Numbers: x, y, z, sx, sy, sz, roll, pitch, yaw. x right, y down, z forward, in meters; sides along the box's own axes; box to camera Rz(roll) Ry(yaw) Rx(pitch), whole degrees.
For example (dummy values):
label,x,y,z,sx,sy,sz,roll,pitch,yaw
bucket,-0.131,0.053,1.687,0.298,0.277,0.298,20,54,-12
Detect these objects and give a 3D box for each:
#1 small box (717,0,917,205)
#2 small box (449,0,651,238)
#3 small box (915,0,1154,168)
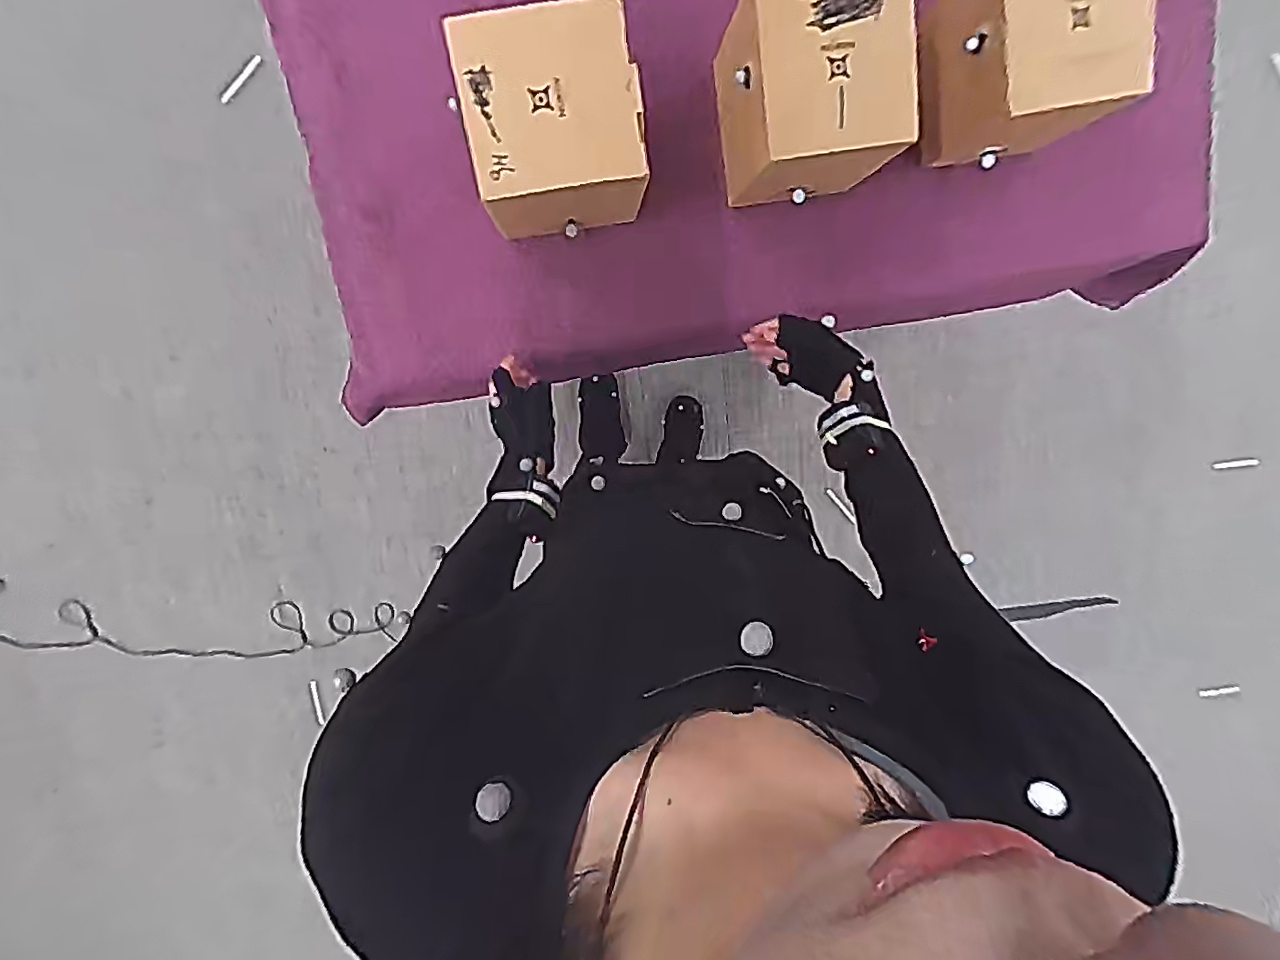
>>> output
label,x,y,z,sx,sy,sz,roll,pitch,yaw
small box,0.195,-0.448,0.631,0.168,0.176,0.179,-10,102,-3
small box,-0.096,-0.391,0.614,0.179,0.176,0.168,-11,101,-4
small box,0.454,-0.508,0.646,0.168,0.176,0.179,-12,102,-2
